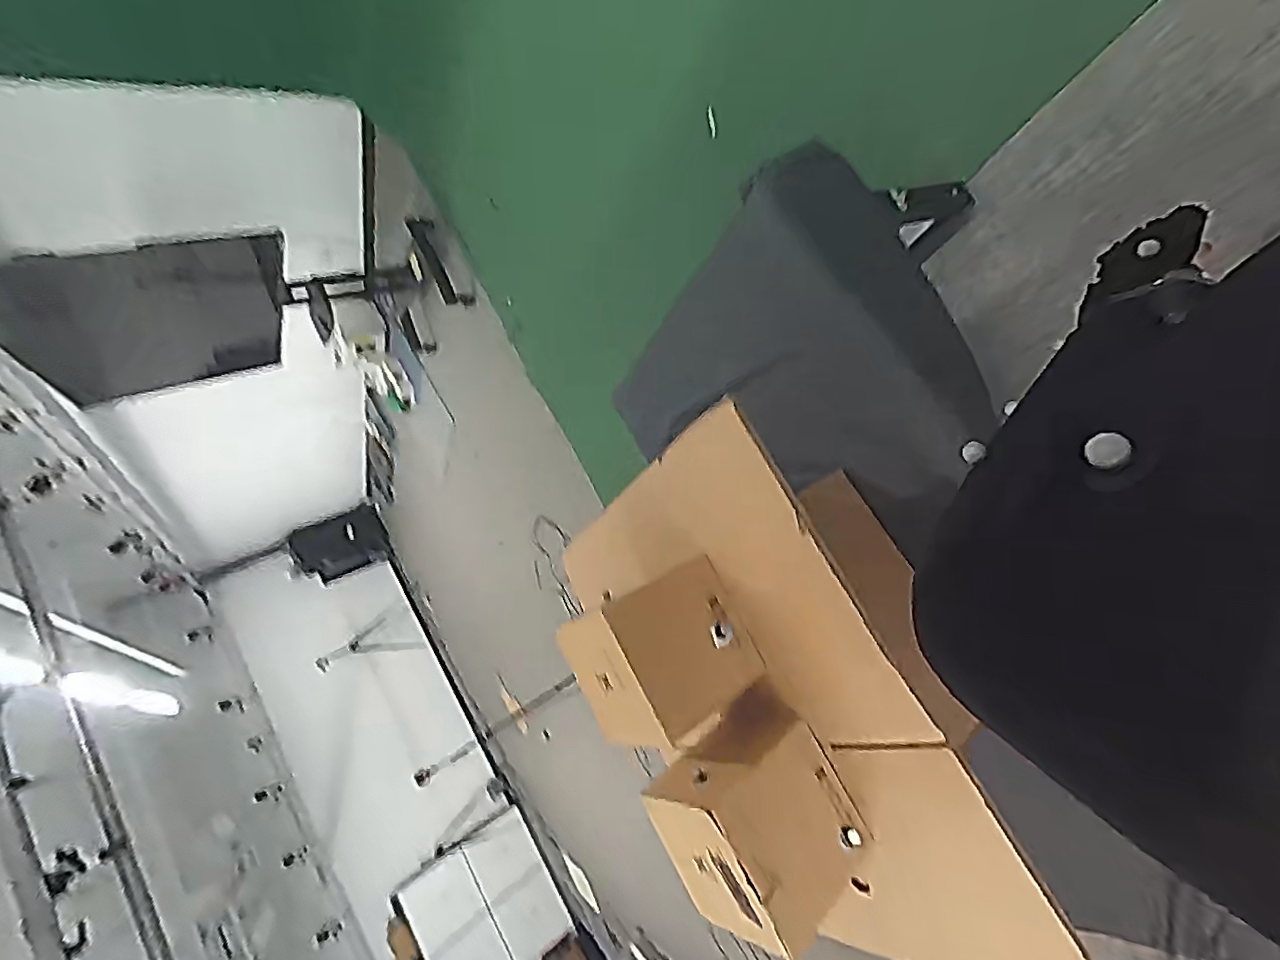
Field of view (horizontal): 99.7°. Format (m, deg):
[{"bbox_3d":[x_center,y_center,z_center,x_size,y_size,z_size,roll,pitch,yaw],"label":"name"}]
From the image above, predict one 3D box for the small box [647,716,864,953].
[{"bbox_3d":[0.145,0.413,0.669,0.168,0.176,0.179,61,146,9],"label":"small box"}]
